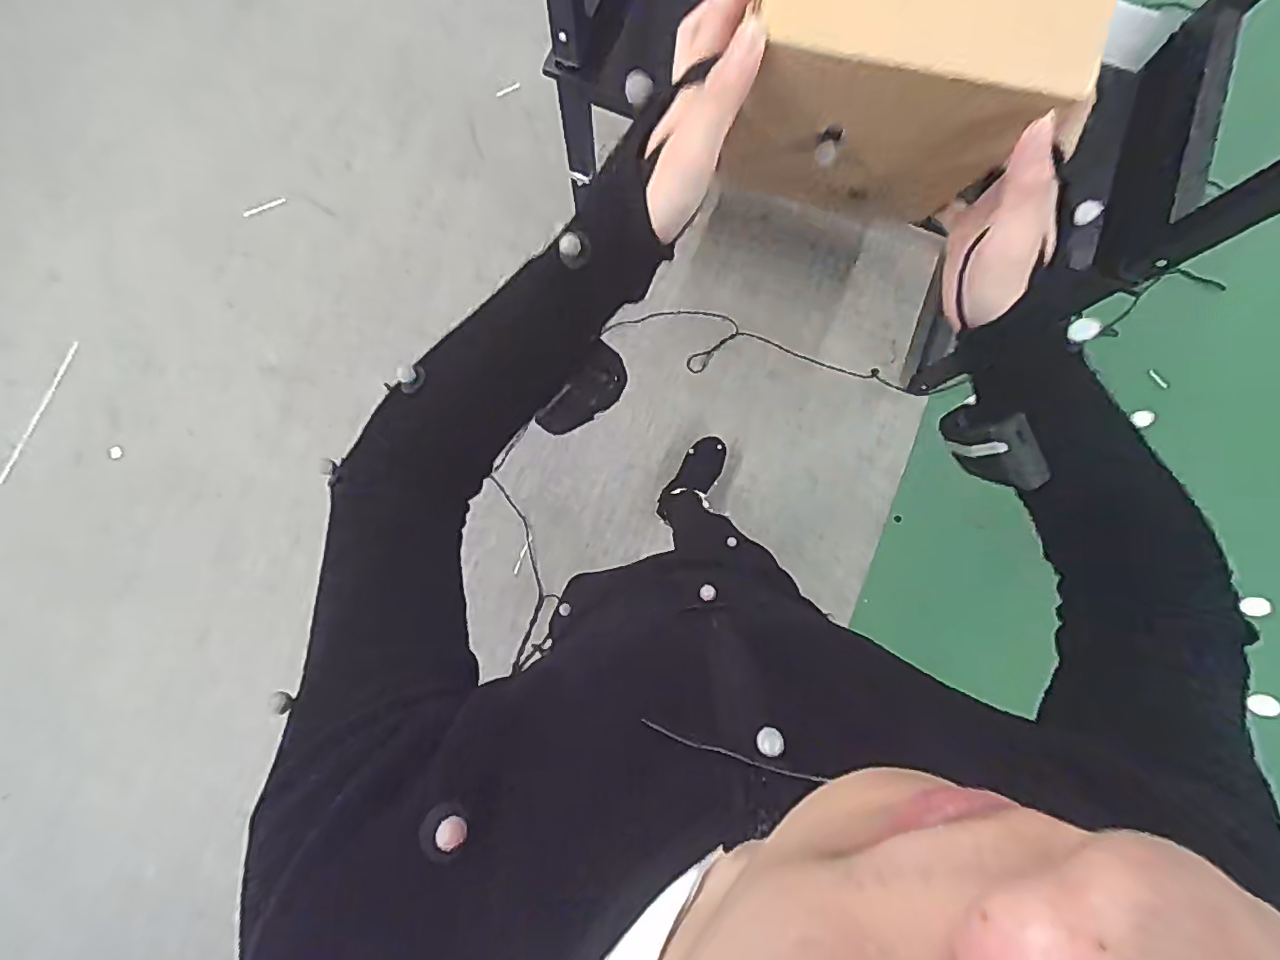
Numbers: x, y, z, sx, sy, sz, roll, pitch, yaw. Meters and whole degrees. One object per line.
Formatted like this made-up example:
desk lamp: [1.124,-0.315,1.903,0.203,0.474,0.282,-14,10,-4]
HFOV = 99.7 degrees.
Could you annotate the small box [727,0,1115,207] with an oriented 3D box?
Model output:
small box: [0.154,-0.294,0.329,0.168,0.176,0.179,10,96,0]
